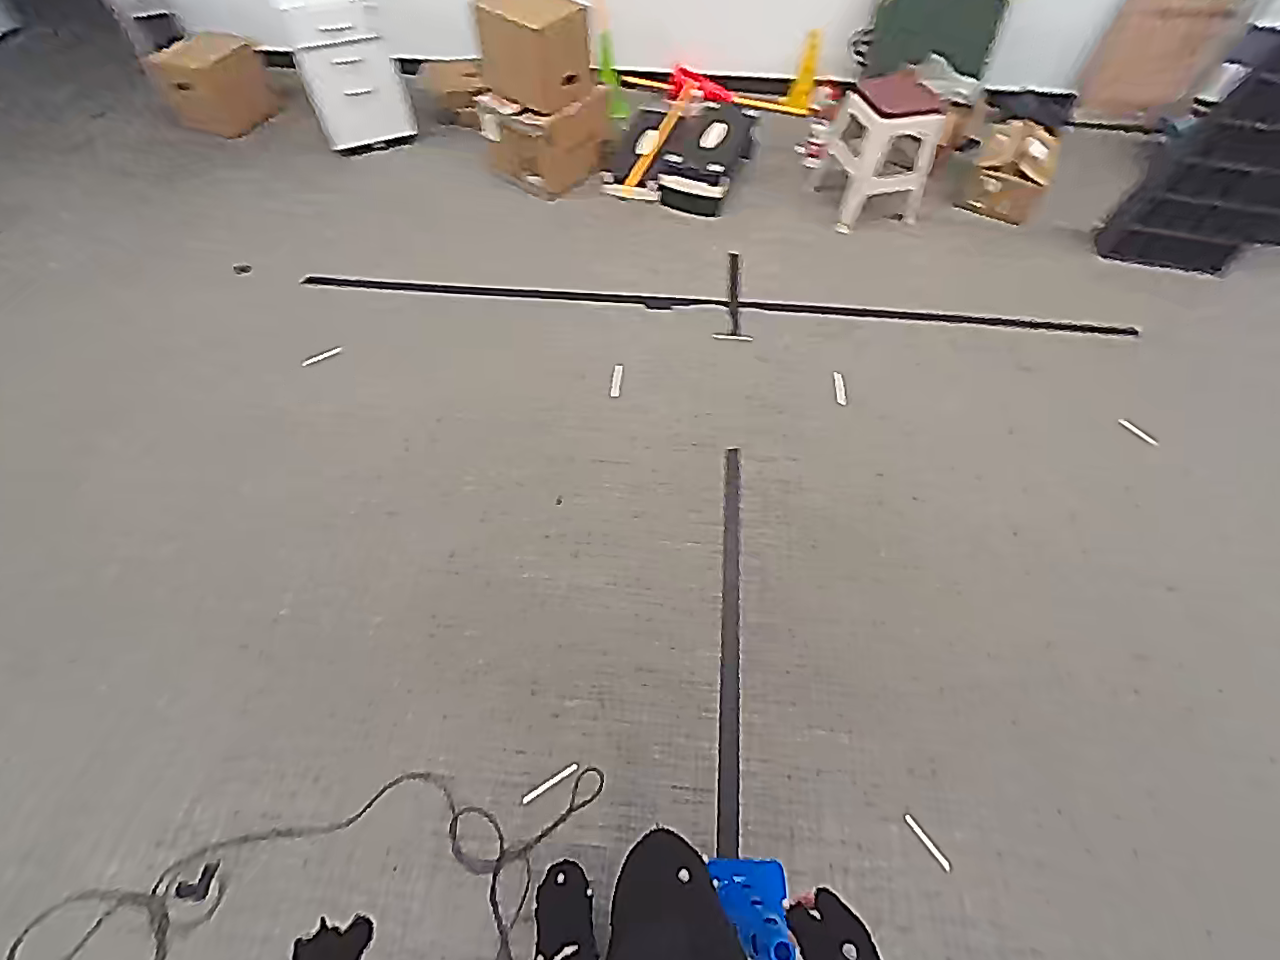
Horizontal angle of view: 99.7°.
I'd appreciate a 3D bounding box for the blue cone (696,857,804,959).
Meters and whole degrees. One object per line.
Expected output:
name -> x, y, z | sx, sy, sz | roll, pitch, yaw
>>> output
blue cone -> 0.219, 0.817, 0.993 | 0.192, 0.380, 0.193 | 3, 58, -1
